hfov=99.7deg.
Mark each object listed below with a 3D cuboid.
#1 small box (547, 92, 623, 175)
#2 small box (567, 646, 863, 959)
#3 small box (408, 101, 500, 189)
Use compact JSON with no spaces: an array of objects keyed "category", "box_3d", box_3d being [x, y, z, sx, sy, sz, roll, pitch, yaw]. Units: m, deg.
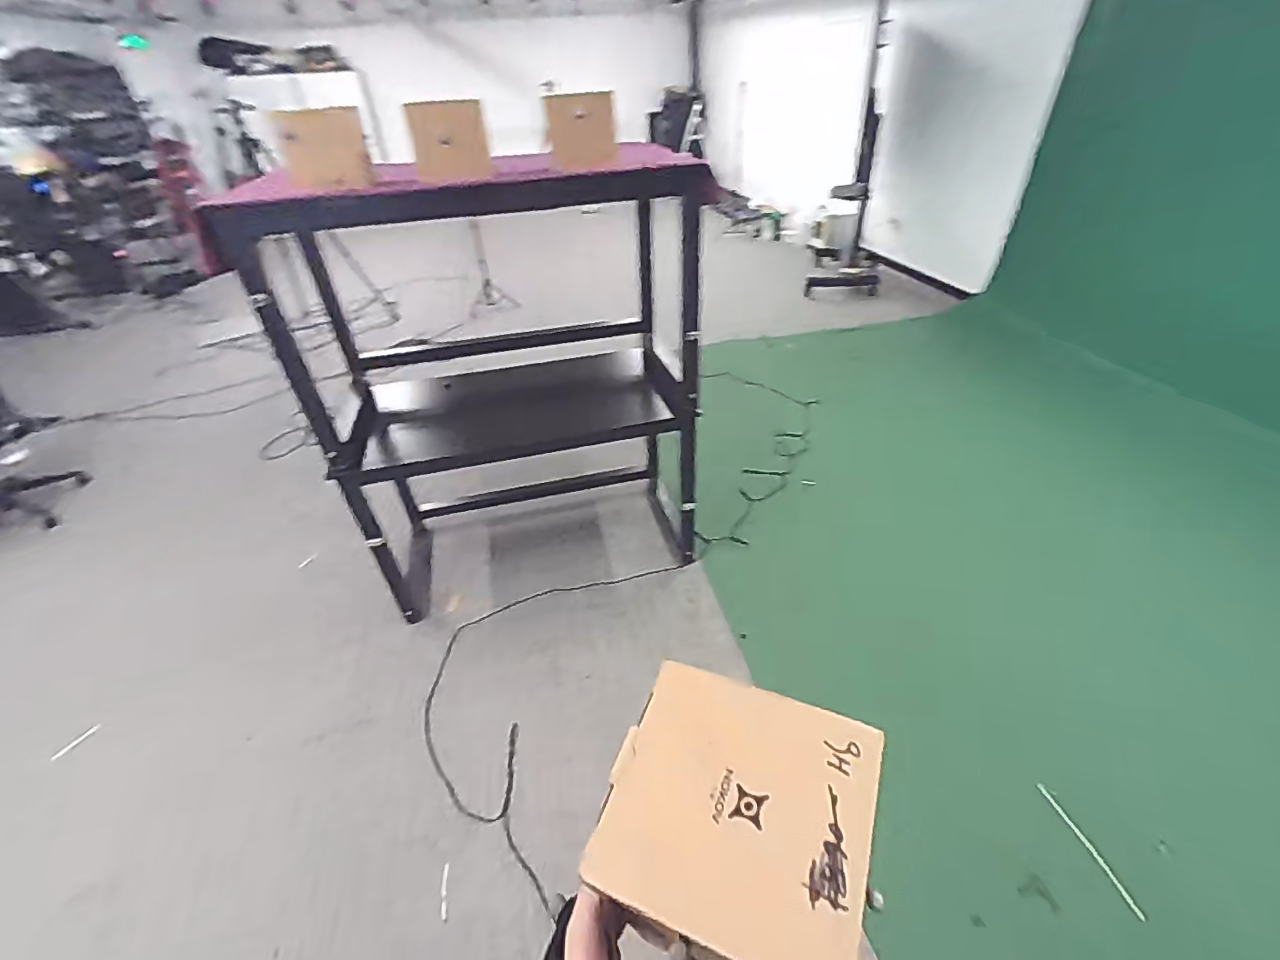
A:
[{"category":"small box","box_3d":[-0.144,-0.910,1.423,0.179,0.176,0.168,-8,36,-4]},{"category":"small box","box_3d":[0.070,0.270,0.442,0.179,0.176,0.168,11,47,23]},{"category":"small box","box_3d":[-0.457,-0.846,1.364,0.179,0.176,0.168,-9,36,-5]}]
